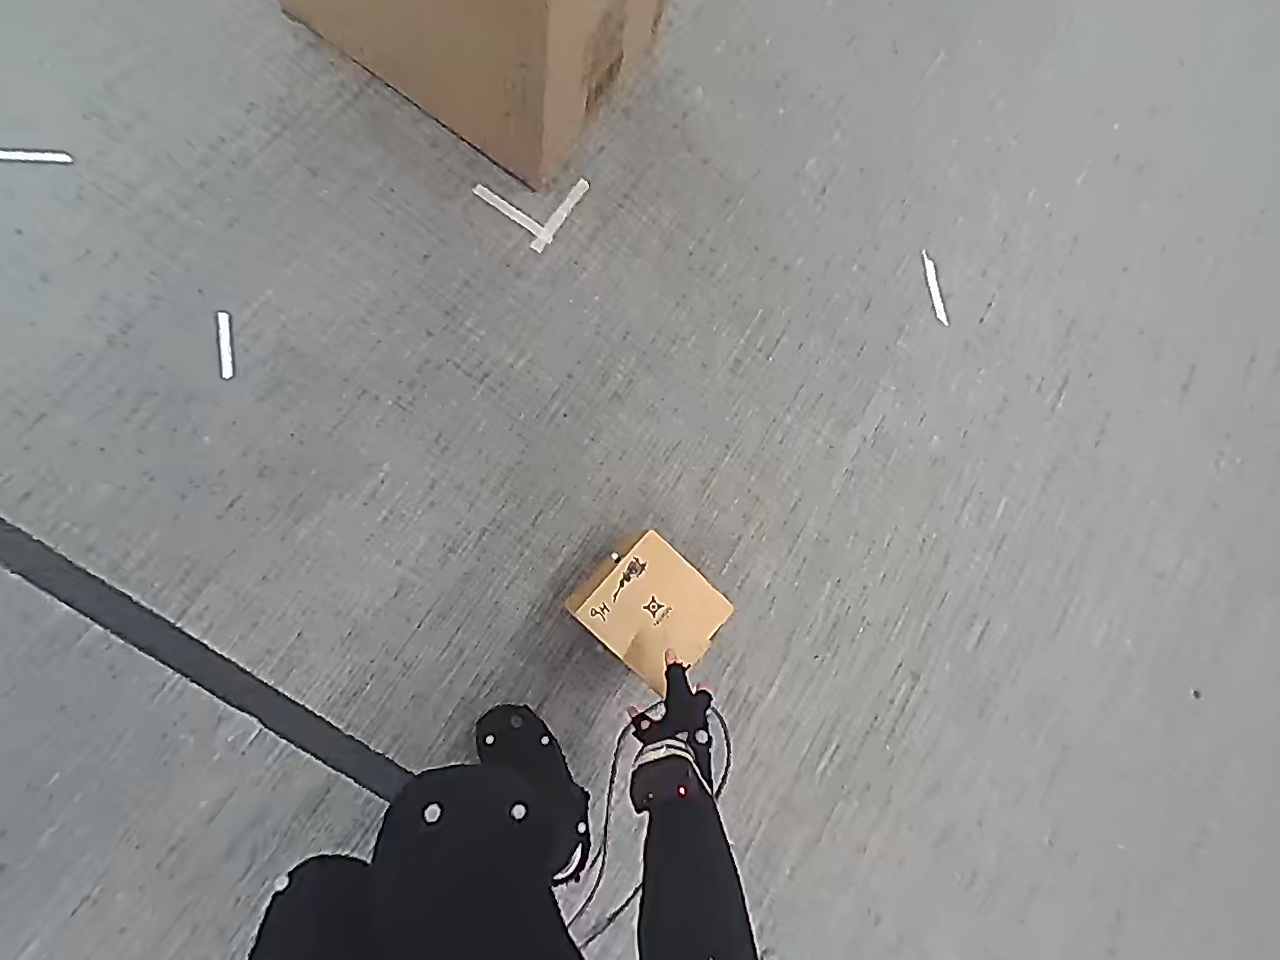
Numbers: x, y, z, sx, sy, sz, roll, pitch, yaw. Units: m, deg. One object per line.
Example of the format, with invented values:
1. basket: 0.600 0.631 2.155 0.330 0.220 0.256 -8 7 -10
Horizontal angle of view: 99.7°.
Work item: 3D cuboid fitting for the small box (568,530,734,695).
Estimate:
1. small box: 0.008 0.193 0.840 0.179 0.176 0.168 43 76 -4
